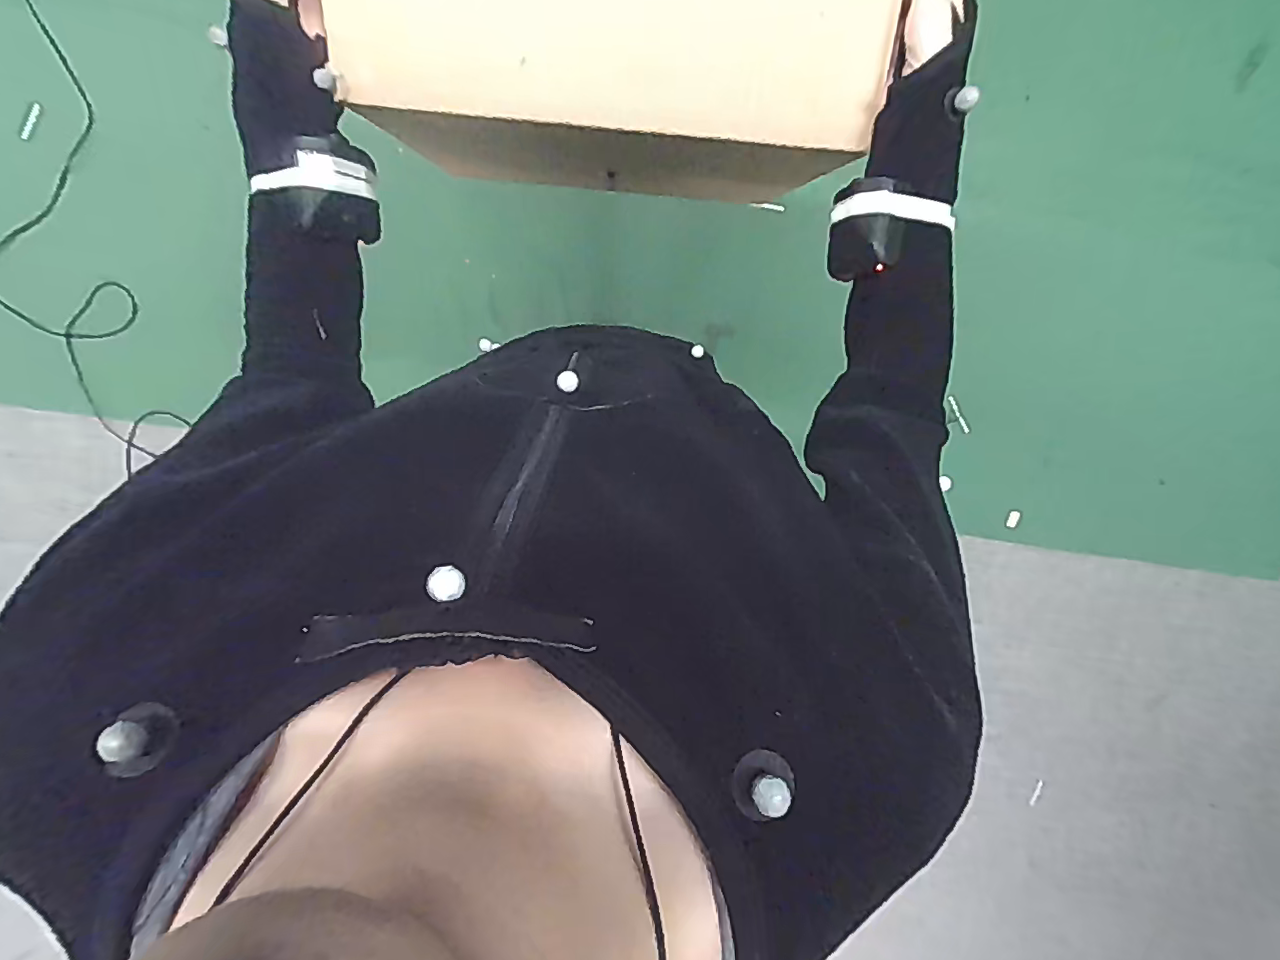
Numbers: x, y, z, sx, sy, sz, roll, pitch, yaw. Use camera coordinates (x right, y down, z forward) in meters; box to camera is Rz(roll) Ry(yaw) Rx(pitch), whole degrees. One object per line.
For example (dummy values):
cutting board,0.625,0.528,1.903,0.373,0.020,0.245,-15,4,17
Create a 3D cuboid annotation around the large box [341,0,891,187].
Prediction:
large box,-0.015,-0.470,0.500,0.408,0.320,0.320,2,110,-4
